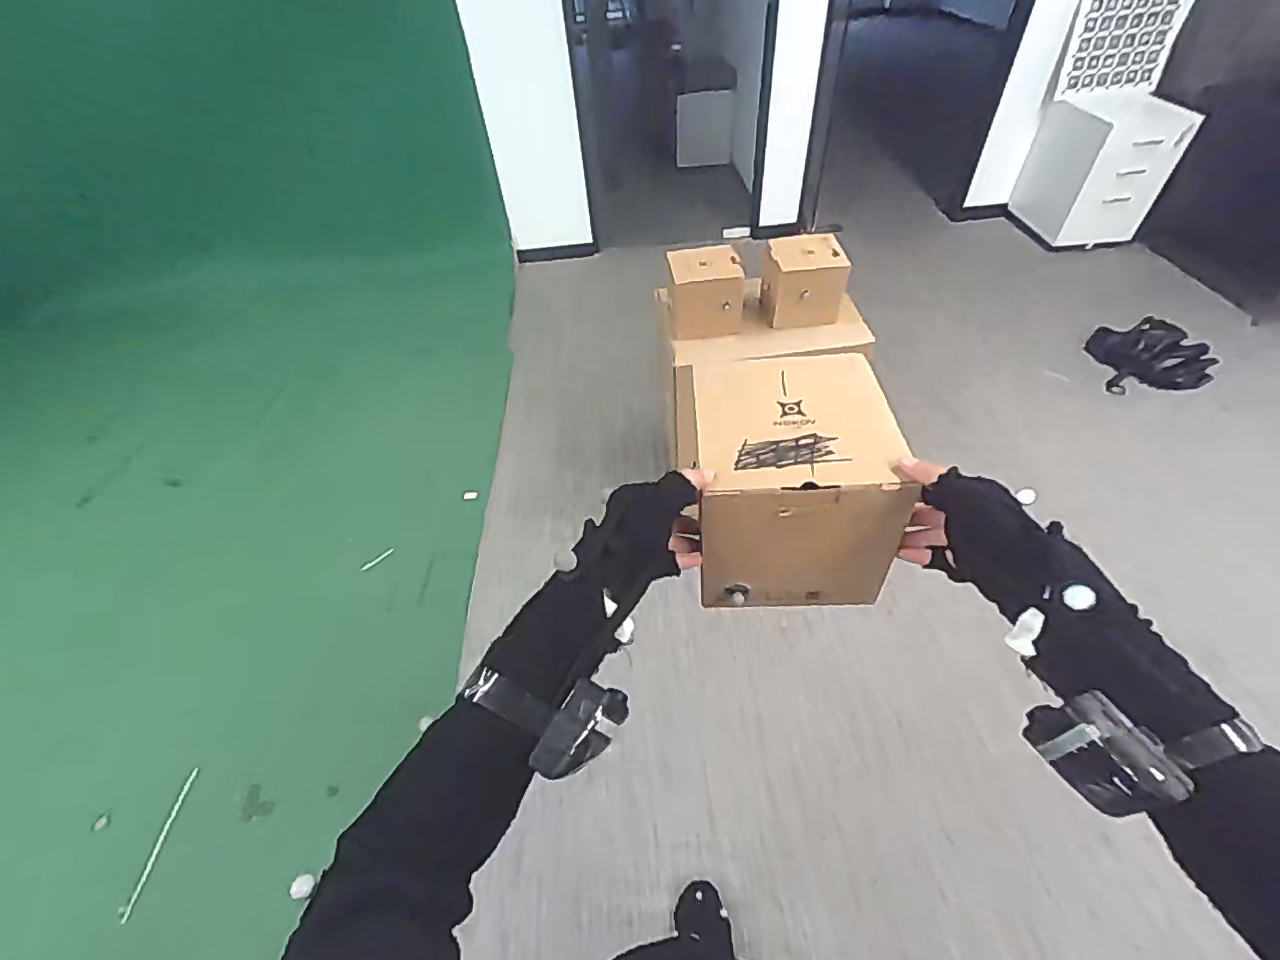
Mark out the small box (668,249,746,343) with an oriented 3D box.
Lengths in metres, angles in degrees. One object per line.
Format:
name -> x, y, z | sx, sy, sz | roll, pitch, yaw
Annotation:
small box -> 0.173, -0.487, 1.443 | 0.179, 0.176, 0.168 | -8, 50, -1

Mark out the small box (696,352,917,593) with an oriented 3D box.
small box -> 0.141, -0.003, 0.529 | 0.168, 0.176, 0.179 | -2, 45, 4

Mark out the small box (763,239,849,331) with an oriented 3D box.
small box -> 0.433, -0.517, 1.446 | 0.179, 0.176, 0.168 | -5, 51, 0
